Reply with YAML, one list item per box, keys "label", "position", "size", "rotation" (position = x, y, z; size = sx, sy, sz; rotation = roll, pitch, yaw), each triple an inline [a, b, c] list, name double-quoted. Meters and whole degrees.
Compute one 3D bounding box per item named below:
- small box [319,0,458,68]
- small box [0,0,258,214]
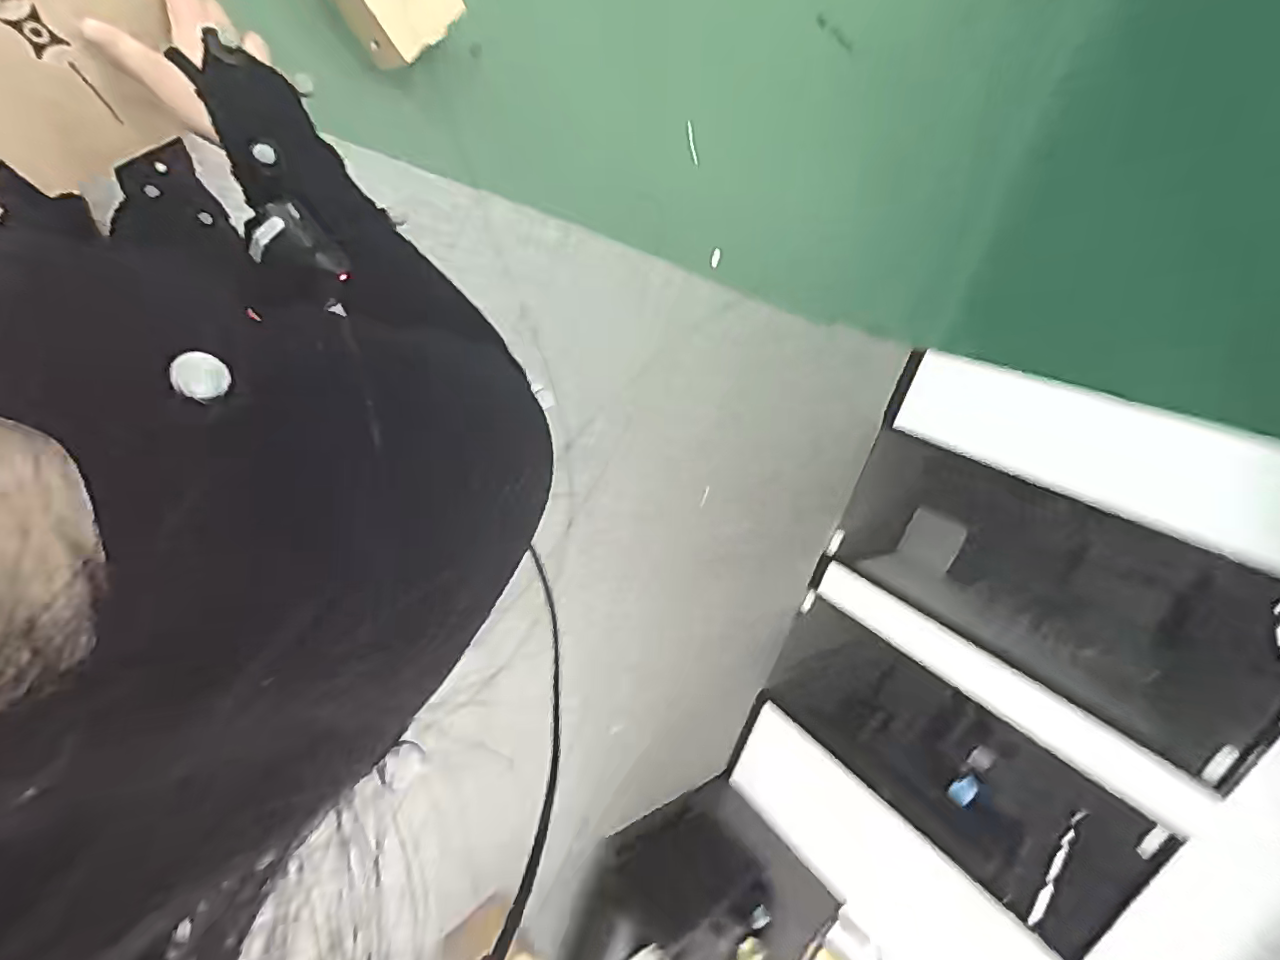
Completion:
- label: "small box"
  position: [-0.486, -0.913, 1.013]
  size: [0.168, 0.176, 0.179]
  rotation: [-50, 138, -8]
- label: "small box"
  position: [-0.427, -0.339, 0.384]
  size: [0.168, 0.176, 0.179]
  rotation: [-31, 154, -8]
